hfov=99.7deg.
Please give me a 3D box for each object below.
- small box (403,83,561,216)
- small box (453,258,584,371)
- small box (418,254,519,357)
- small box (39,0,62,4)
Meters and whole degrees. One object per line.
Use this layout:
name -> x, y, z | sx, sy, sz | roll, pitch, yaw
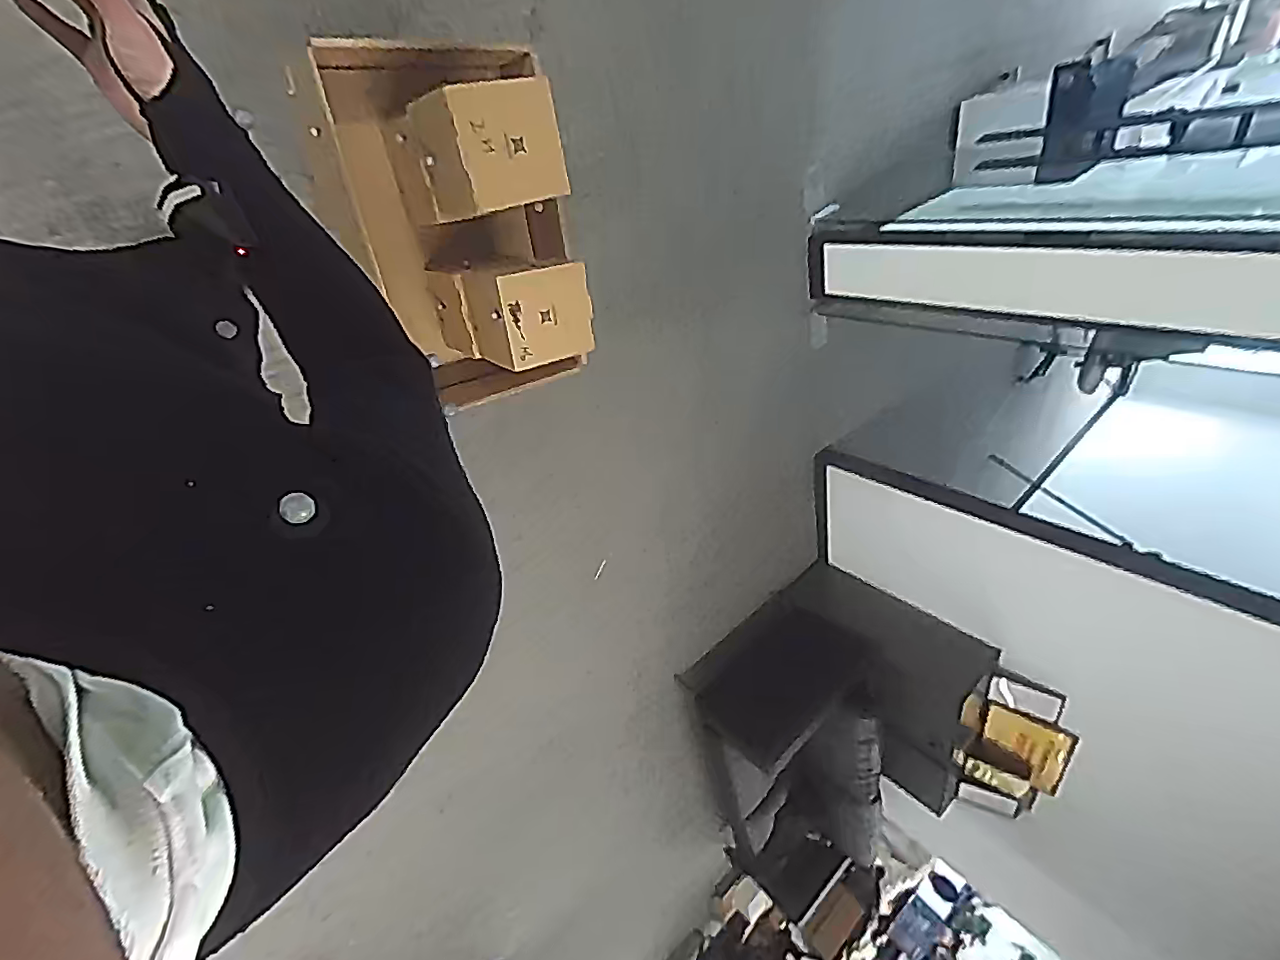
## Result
small box -> -0.261, -0.547, 0.902 | 0.179, 0.176, 0.168 | -29, 128, -29
small box -> -0.232, -0.326, 1.043 | 0.179, 0.176, 0.168 | -25, 125, -31
small box -> -0.342, -0.380, 1.153 | 0.179, 0.176, 0.168 | -26, 126, -30
small box -> -0.447, -0.425, 0.310 | 0.168, 0.176, 0.179 | 3, 118, -46
